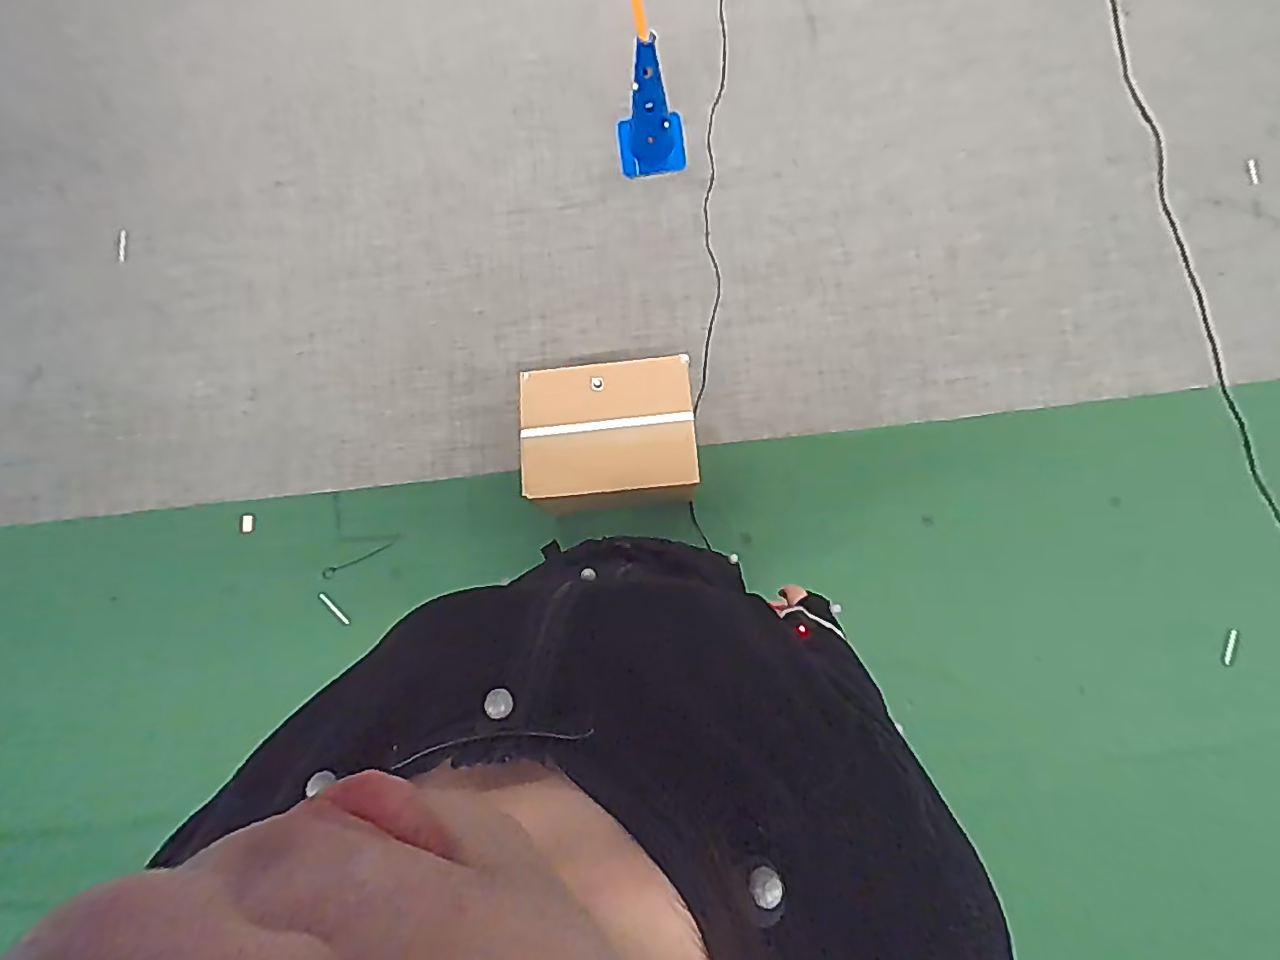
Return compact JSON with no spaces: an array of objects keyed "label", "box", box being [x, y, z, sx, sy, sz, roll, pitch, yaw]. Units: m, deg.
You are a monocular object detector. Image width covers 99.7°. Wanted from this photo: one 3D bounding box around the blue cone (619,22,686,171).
[{"label":"blue cone","box":[0.026,-1.067,1.501,0.193,0.380,0.192,-9,81,4]}]
